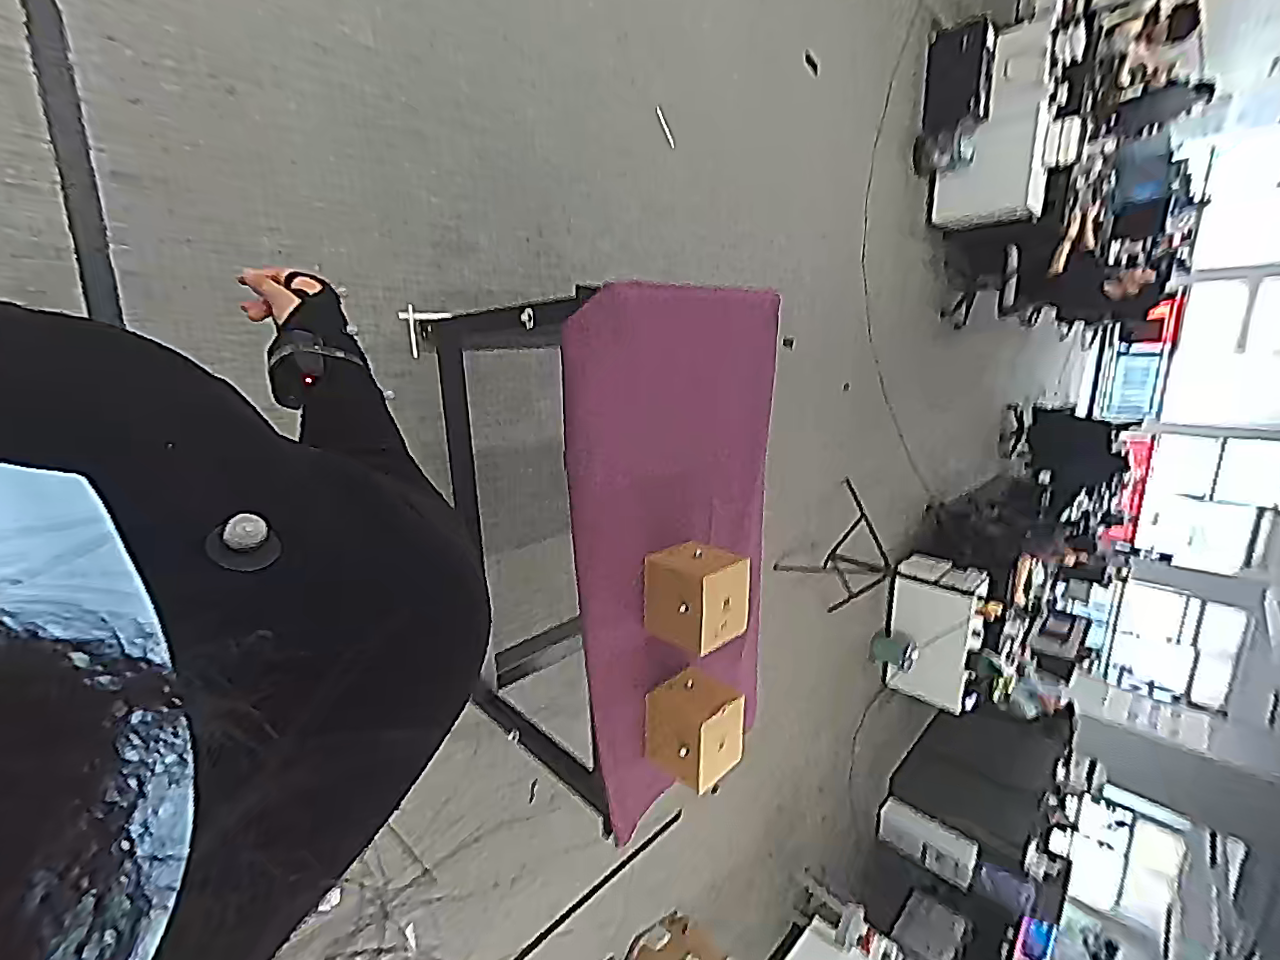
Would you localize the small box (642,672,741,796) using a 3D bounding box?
[{"bbox_3d":[0.117,0.586,1.270,0.168,0.176,0.179,-10,105,-45],"label":"small box"}]

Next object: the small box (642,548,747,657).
[{"bbox_3d":[0.118,0.258,1.198,0.168,0.176,0.179,-10,106,-43],"label":"small box"}]
